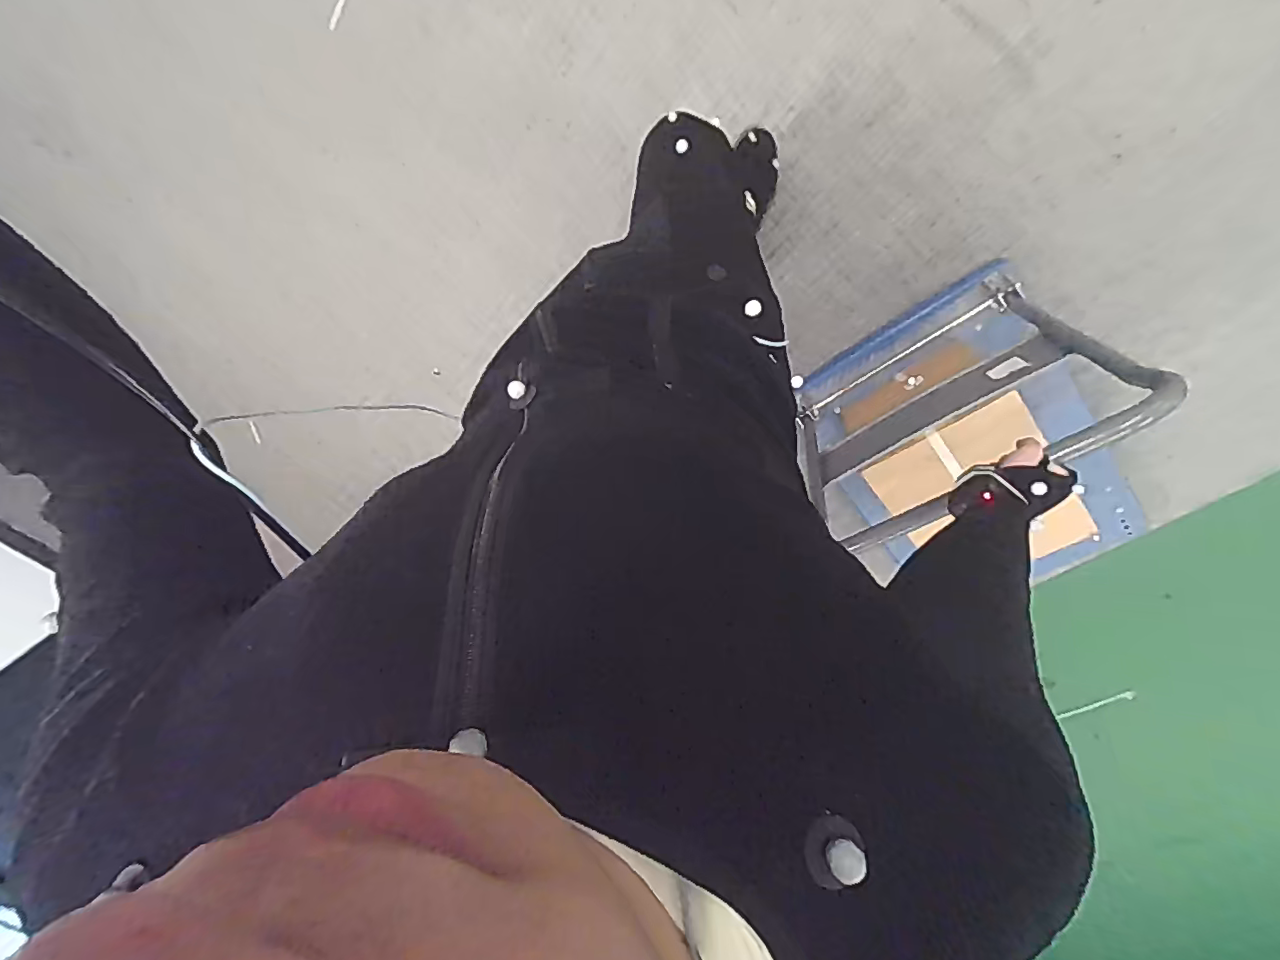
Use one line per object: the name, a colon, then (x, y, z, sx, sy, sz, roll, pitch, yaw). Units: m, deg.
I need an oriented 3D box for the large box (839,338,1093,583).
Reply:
large box: (0.722, -0.047, 1.252, 0.320, 0.320, 0.408, -33, 111, 28)
